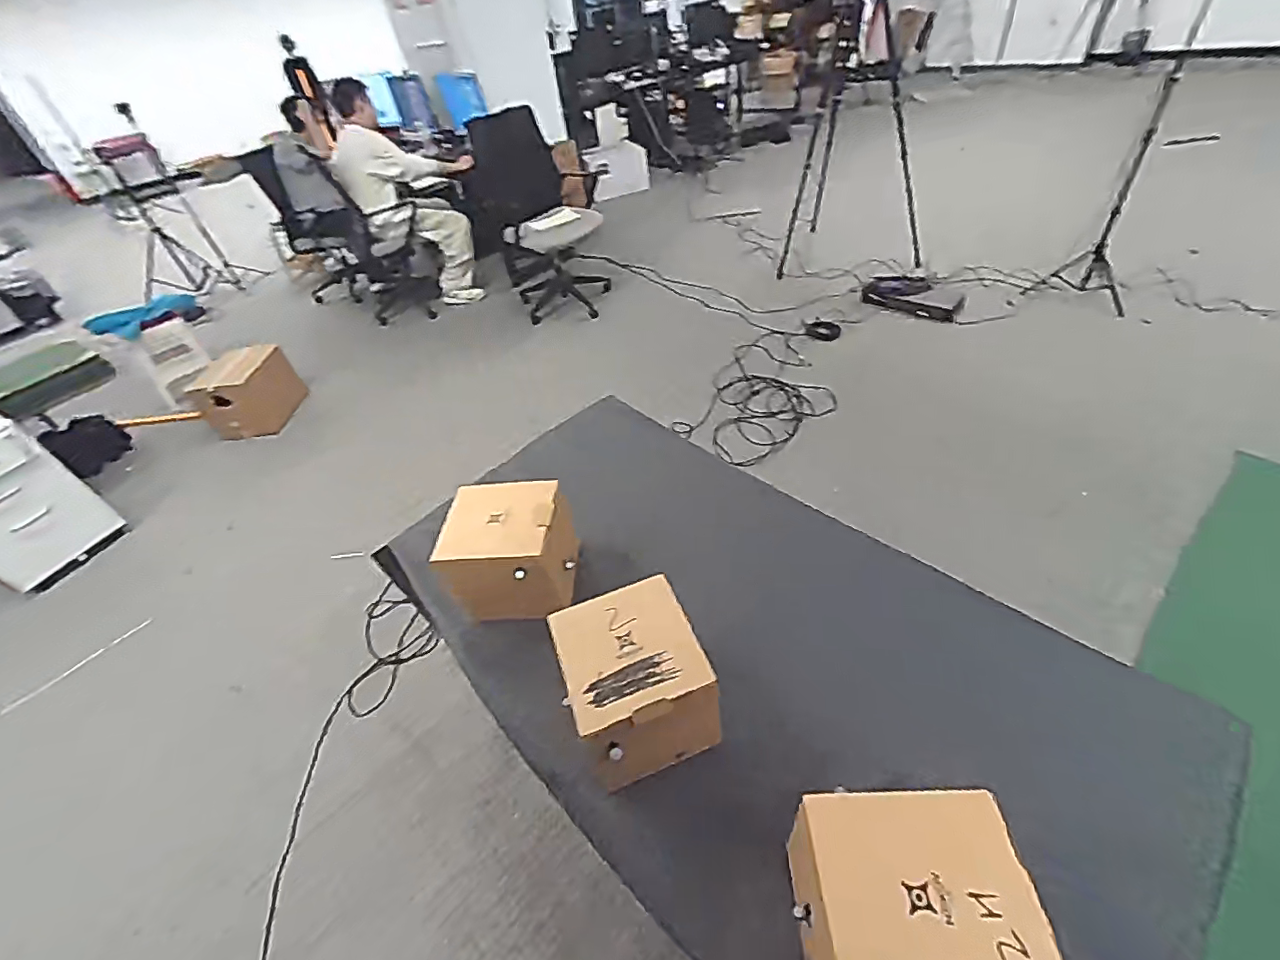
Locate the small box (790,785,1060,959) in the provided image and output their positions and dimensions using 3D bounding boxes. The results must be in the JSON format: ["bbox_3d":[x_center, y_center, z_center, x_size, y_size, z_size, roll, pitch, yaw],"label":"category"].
[{"bbox_3d":[0.240,0.400,0.497,0.179,0.176,0.168,-3,42,4],"label":"small box"}]

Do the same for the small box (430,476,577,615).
[{"bbox_3d":[-0.217,0.114,0.912,0.179,0.176,0.168,-4,42,7],"label":"small box"}]

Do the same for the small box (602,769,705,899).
[{"bbox_3d":[0.033,0.794,1.205,0.168,0.176,0.179,-22,42,-14],"label":"small box"}]

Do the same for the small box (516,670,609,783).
[{"bbox_3d":[-0.200,0.646,1.414,0.168,0.176,0.179,-29,44,-19],"label":"small box"}]
